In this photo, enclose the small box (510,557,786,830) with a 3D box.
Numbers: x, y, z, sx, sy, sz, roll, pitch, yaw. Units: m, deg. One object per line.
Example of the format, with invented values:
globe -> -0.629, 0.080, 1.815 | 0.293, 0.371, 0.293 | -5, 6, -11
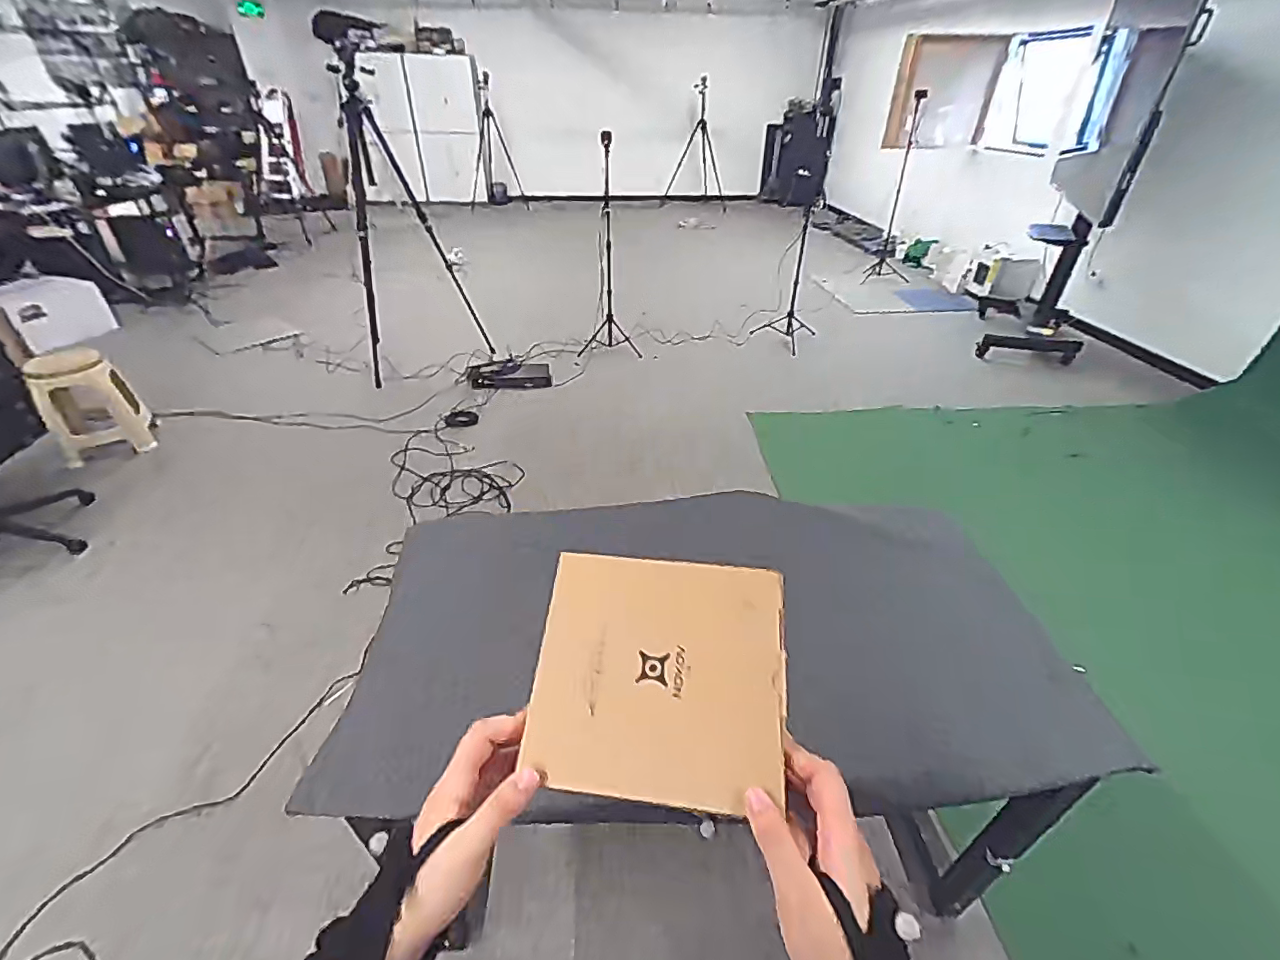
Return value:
small box -> 0.019, 0.178, 0.445 | 0.179, 0.176, 0.168 | 3, 58, 9
